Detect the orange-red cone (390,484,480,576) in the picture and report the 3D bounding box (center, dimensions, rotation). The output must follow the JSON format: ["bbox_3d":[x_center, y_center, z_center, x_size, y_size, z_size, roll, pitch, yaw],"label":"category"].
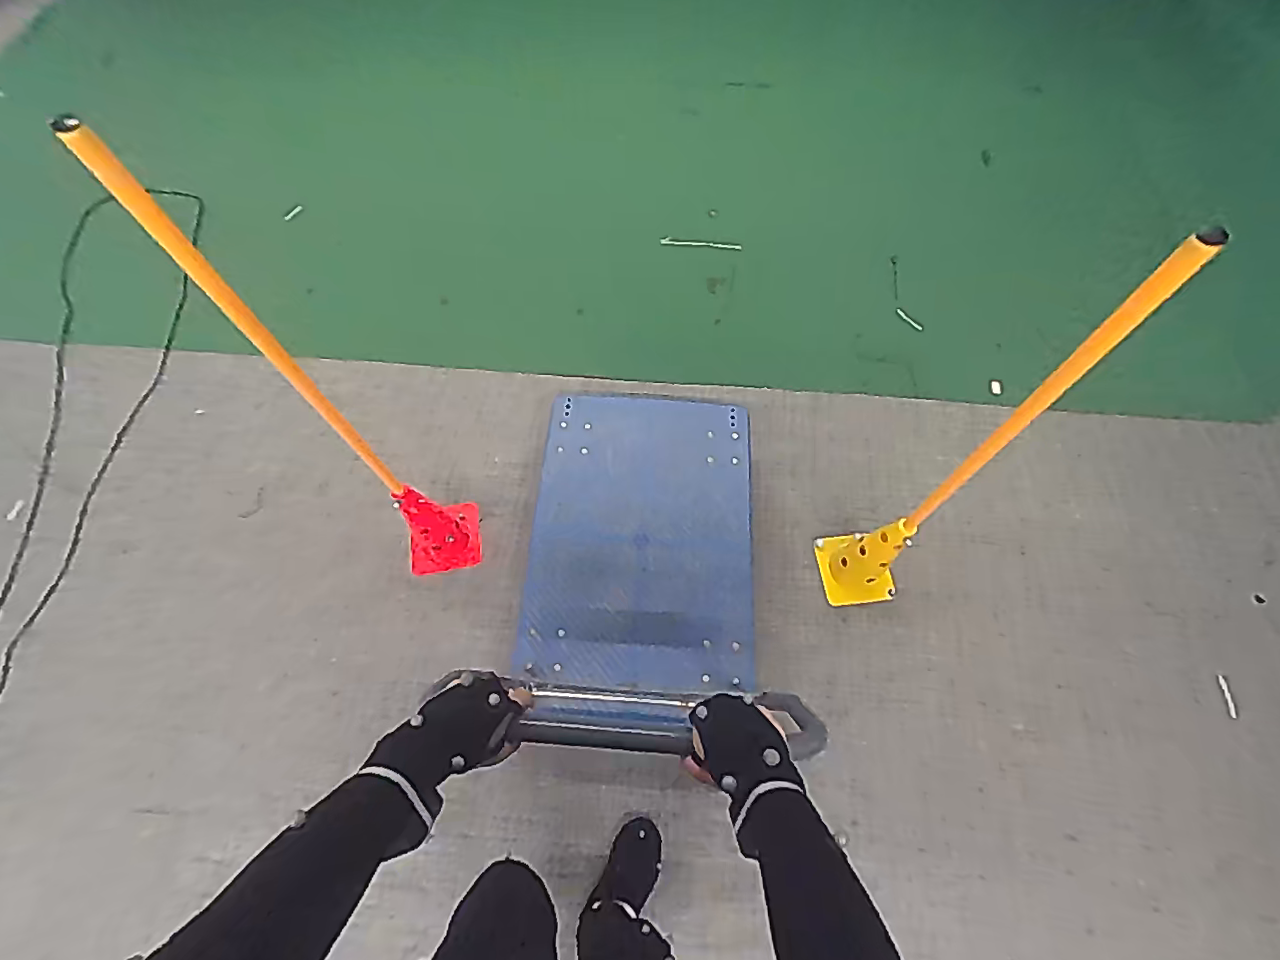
[{"bbox_3d":[-0.568,0.102,1.420,0.199,0.360,0.198,-10,65,-3],"label":"orange-red cone"}]
